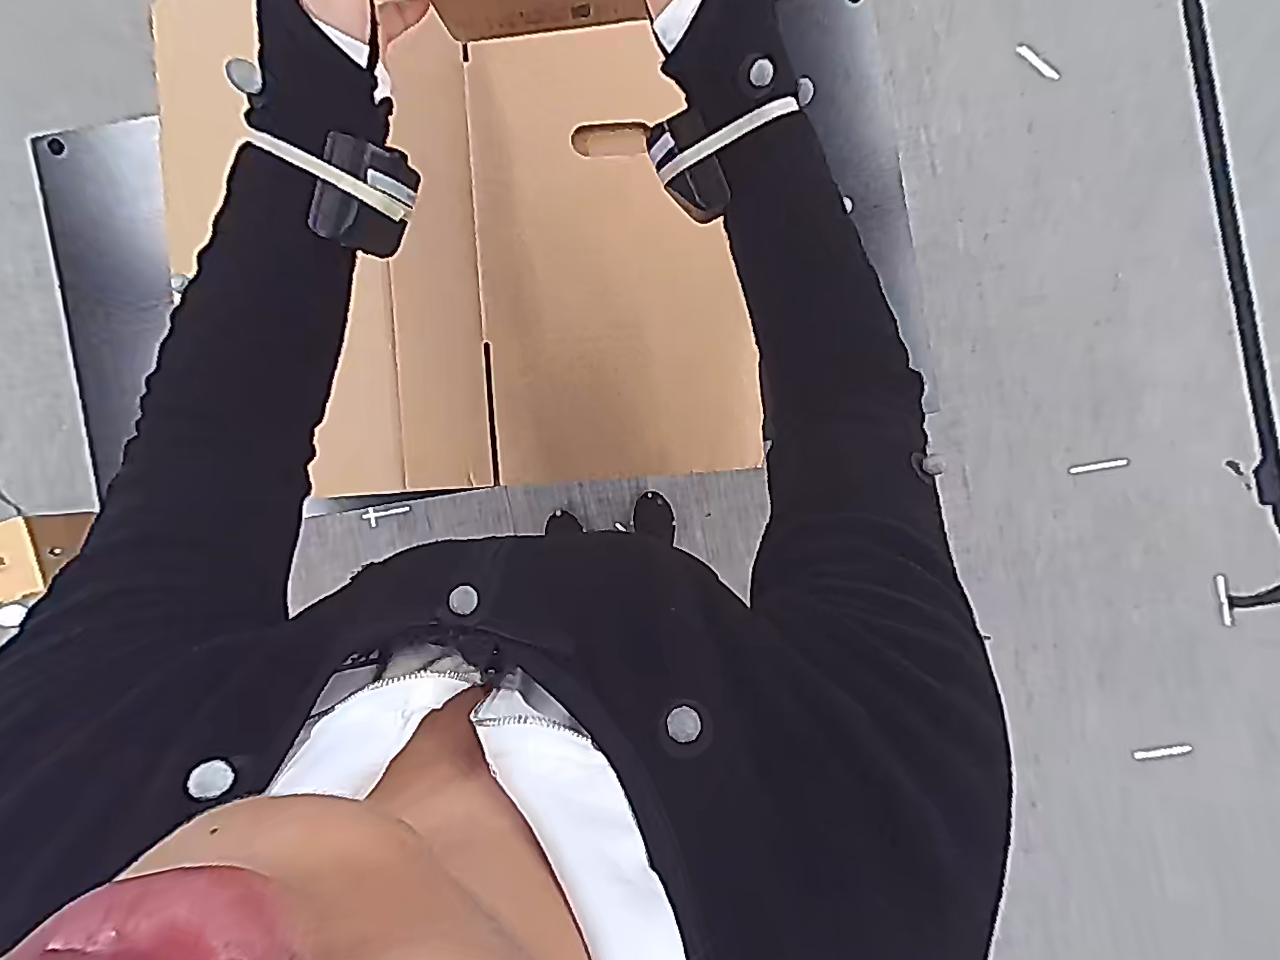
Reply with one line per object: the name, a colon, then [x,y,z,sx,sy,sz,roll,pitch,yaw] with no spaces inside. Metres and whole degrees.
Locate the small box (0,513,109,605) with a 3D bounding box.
small box: [-1.428,0.184,1.282,0.168,0.176,0.179,-17,89,1]

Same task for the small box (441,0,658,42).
small box: [-0.074,-0.413,0.320,0.168,0.176,0.179,-6,102,2]
